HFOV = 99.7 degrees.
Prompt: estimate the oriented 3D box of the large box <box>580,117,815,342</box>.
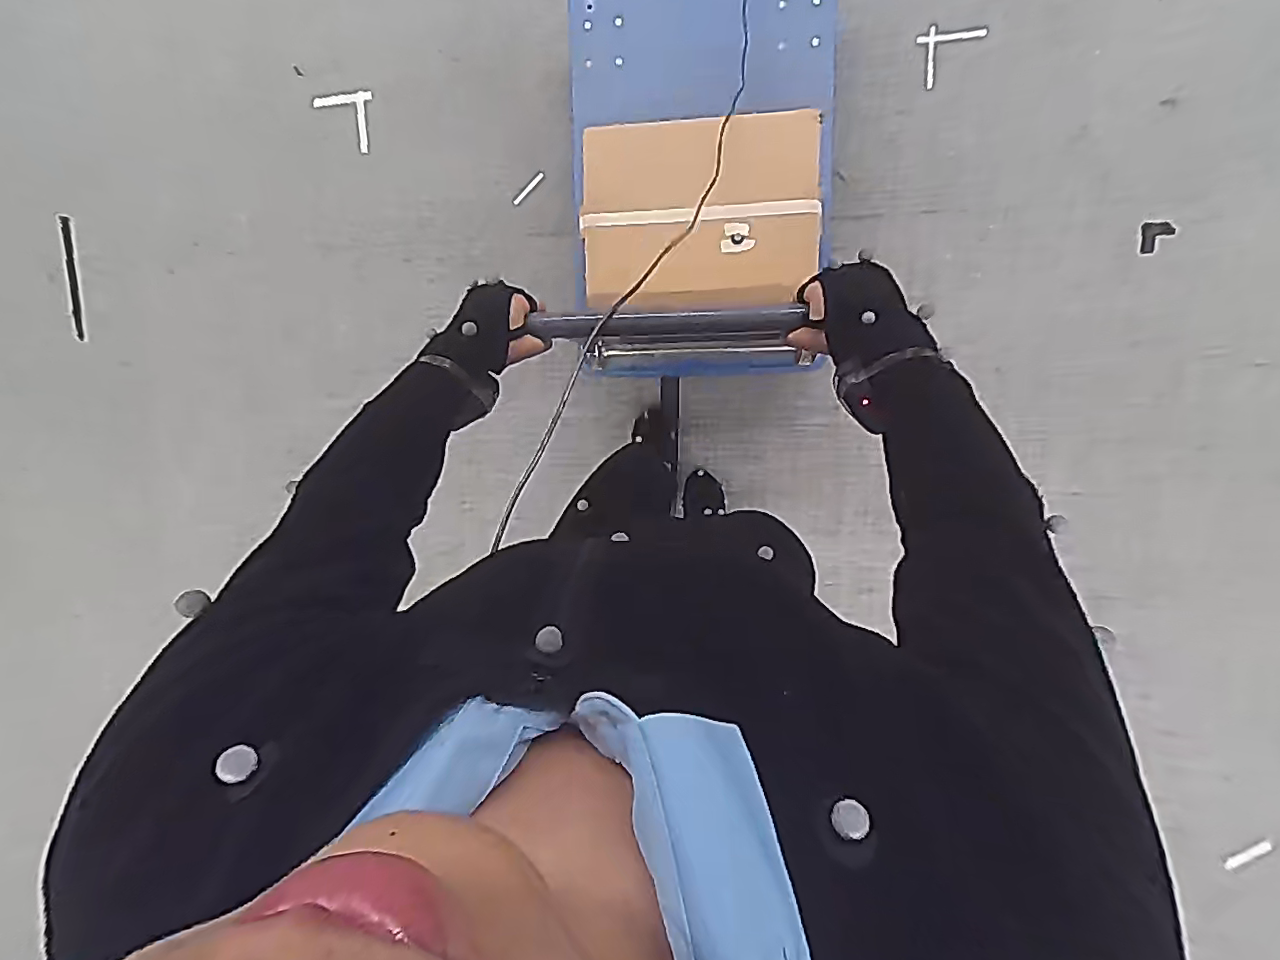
[{"bbox_3d":[0.112,-0.460,1.077,0.408,0.320,0.320,0,97,7],"label":"large box"}]
